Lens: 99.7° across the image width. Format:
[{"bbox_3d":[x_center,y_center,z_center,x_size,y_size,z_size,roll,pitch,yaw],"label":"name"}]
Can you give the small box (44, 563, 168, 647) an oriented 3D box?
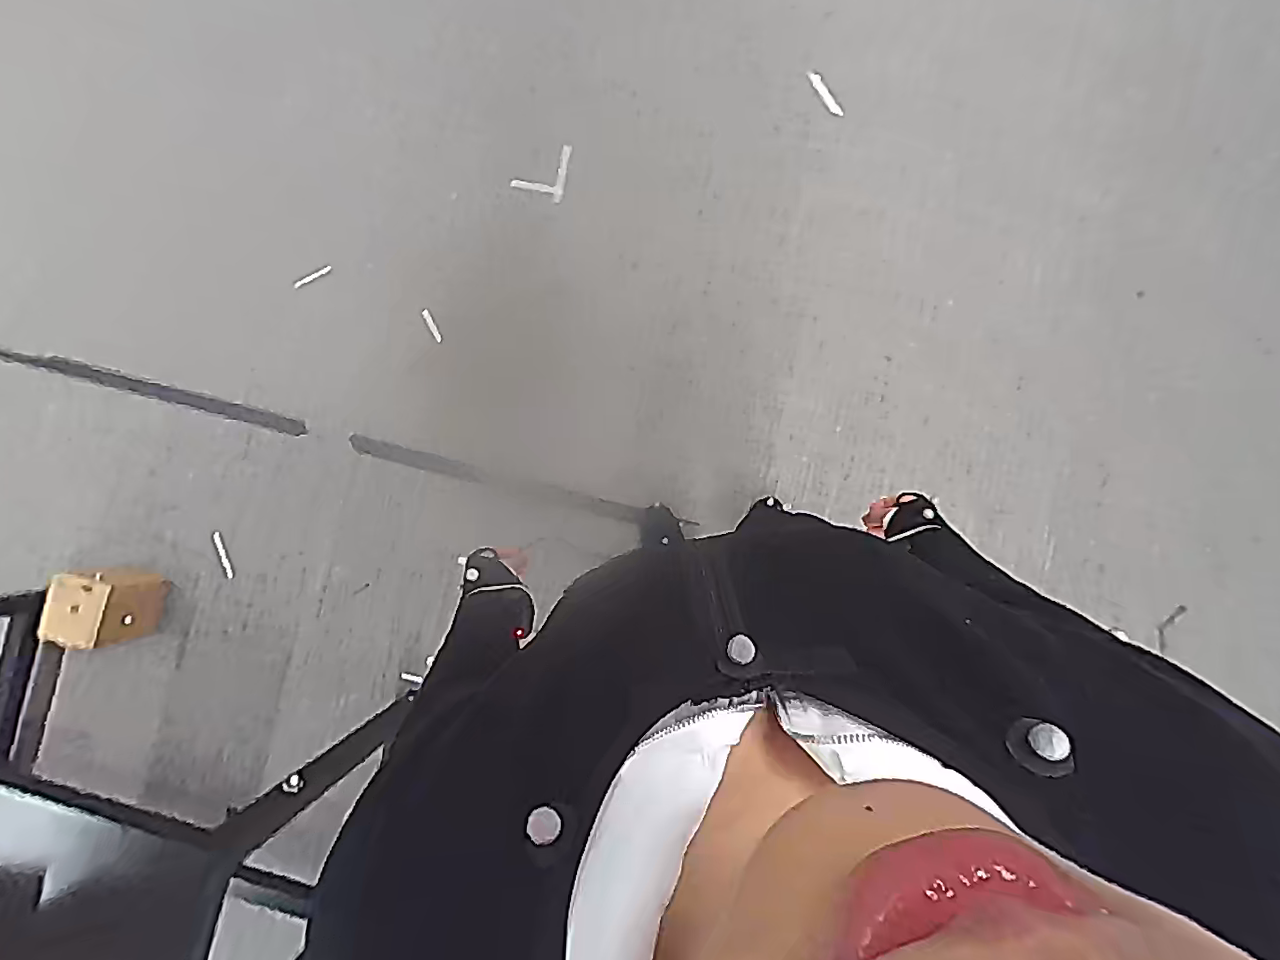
[{"bbox_3d":[-1.474,0.341,1.504,0.168,0.176,0.179,13,88,3],"label":"small box"}]
